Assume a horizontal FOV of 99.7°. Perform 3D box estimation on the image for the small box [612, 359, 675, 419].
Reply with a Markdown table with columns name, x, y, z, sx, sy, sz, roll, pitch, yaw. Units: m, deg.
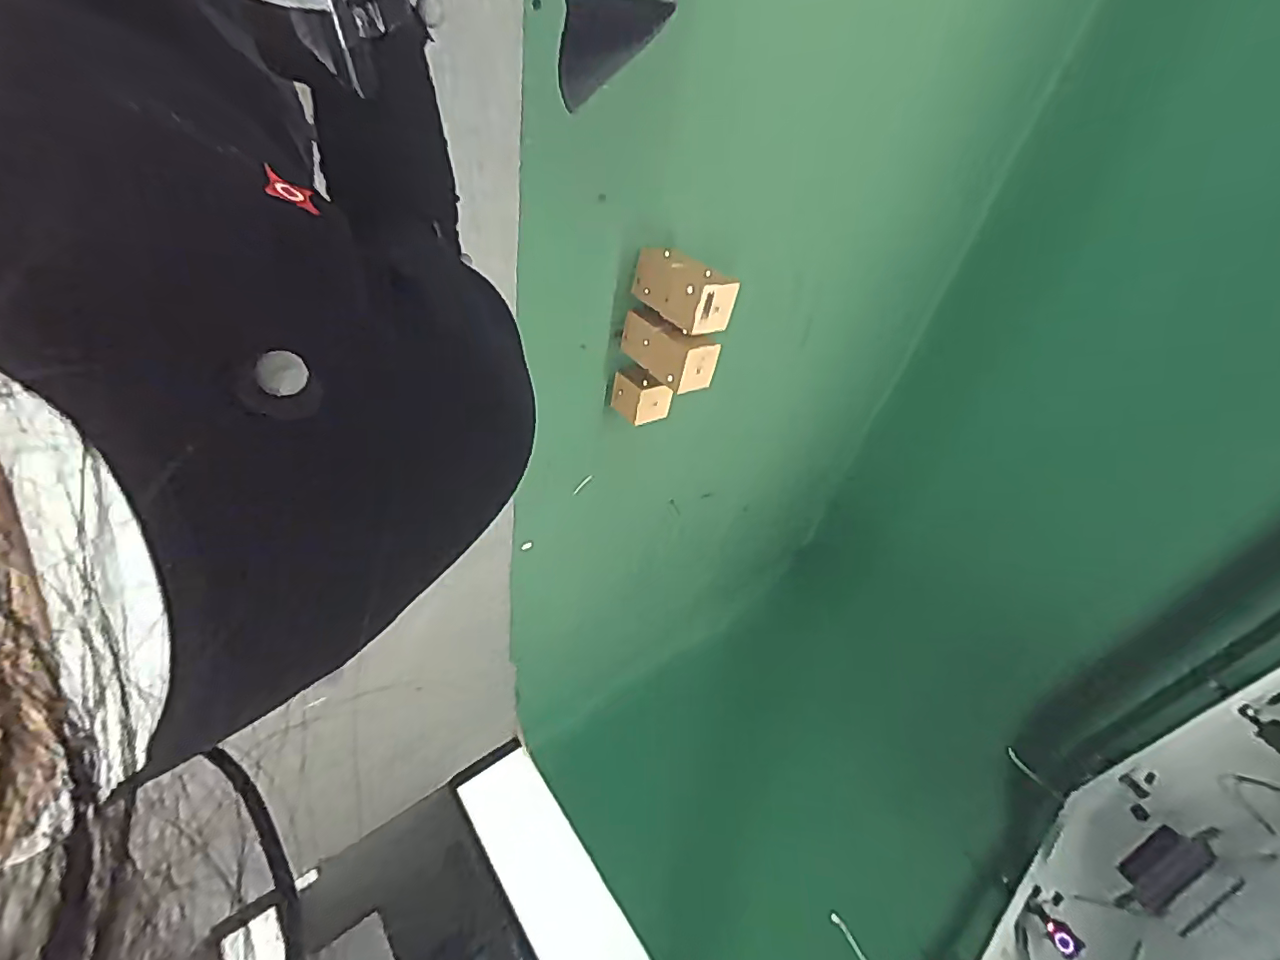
| name | x | y | z | sx | sy | sz | roll | pitch | yaw |
| --- | --- | --- | --- | --- | --- | --- | --- | --- | --- |
| small box | 0.010 | -0.376 | 2.194 | 0.179 | 0.176 | 0.168 | -20 | 140 | -34 |
